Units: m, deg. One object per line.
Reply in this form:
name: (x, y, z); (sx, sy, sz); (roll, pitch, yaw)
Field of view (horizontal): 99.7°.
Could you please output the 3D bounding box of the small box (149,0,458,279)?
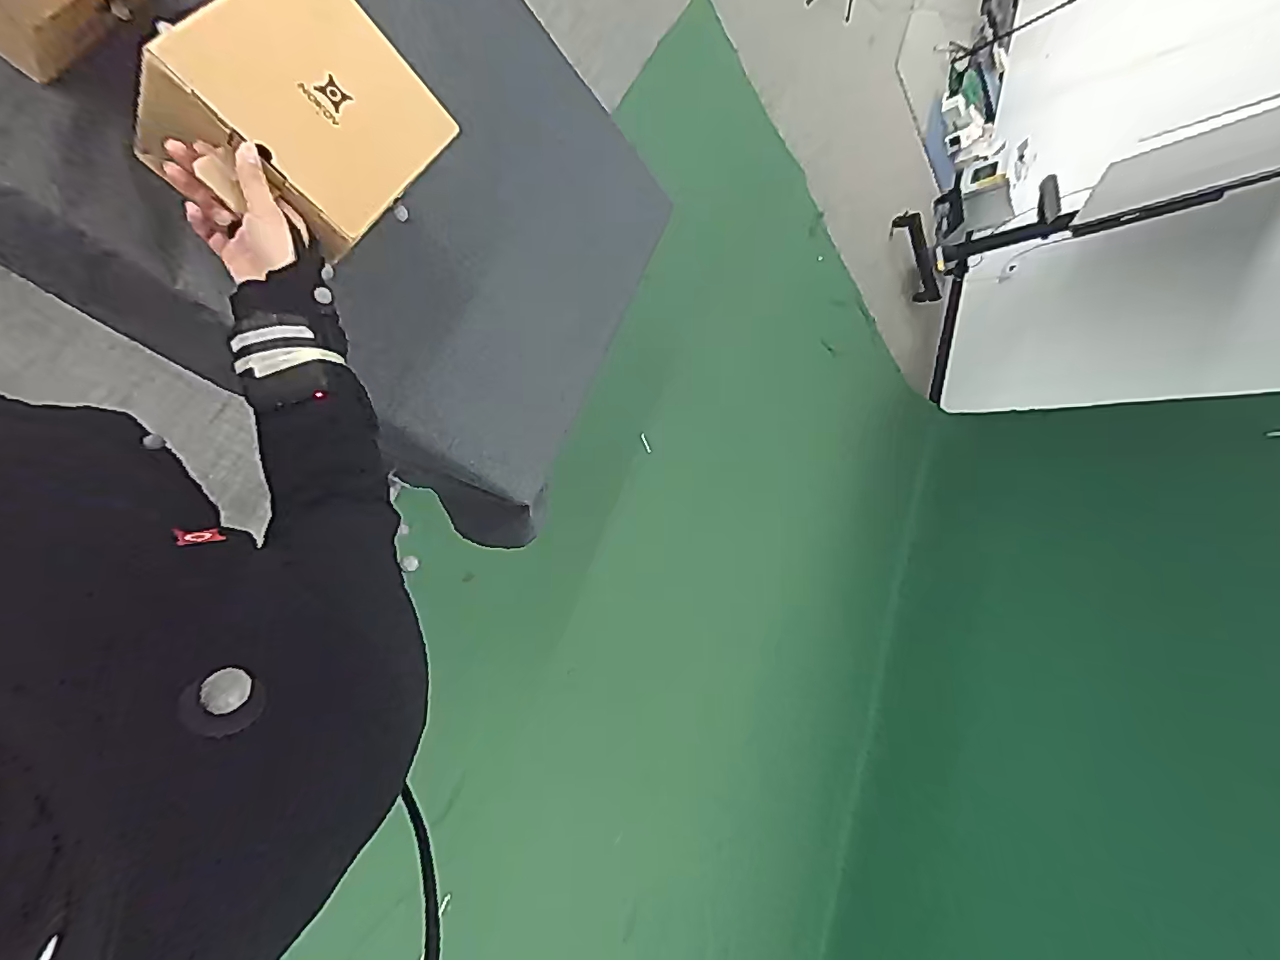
small box: (-0.316, -0.325, 0.510); (0.168, 0.176, 0.179); (44, 61, -36)
